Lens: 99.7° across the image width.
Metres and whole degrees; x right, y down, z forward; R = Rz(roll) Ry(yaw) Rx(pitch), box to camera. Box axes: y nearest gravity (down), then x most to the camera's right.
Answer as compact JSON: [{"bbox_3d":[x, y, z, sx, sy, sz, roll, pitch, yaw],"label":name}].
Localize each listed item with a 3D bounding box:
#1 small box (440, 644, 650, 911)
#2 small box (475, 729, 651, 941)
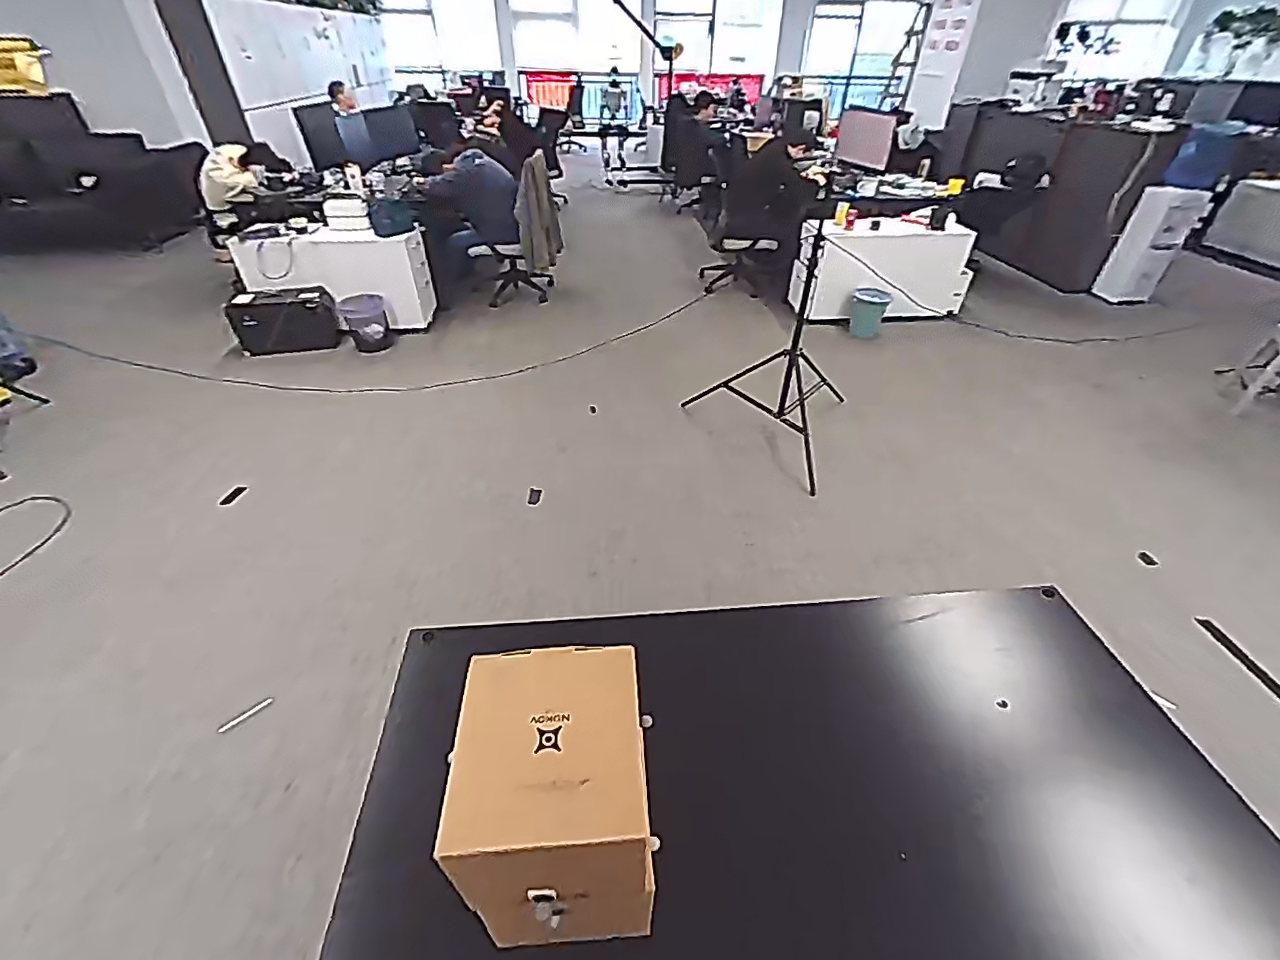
[{"bbox_3d":[-0.081,0.289,0.535,0.168,0.176,0.179,-4,40,-4],"label":"small box"},{"bbox_3d":[-0.080,0.415,0.637,0.179,0.176,0.168,-1,39,-4],"label":"small box"}]
